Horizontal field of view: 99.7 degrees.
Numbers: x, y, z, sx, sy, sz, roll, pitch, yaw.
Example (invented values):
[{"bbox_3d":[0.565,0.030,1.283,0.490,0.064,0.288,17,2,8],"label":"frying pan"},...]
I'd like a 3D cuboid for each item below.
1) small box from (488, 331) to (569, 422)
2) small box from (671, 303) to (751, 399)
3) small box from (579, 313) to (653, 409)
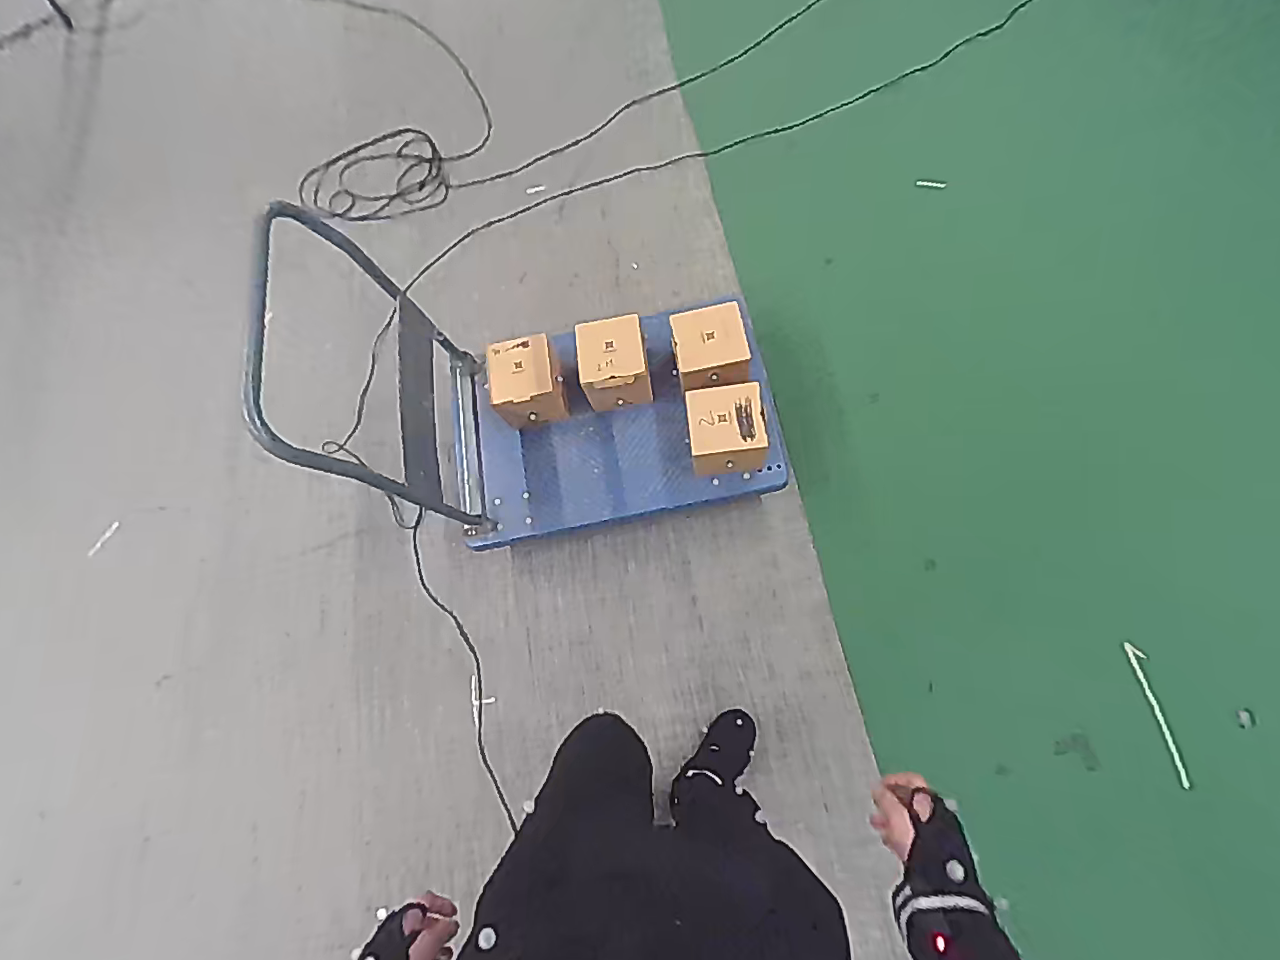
[{"bbox_3d":[-0.292,-0.265,1.441,0.168,0.176,0.179,-9,72,4],"label":"small box"},{"bbox_3d":[0.184,-0.326,1.398,0.179,0.176,0.168,-10,72,5],"label":"small box"},{"bbox_3d":[-0.060,-0.308,1.424,0.168,0.176,0.179,-8,72,6],"label":"small box"}]
